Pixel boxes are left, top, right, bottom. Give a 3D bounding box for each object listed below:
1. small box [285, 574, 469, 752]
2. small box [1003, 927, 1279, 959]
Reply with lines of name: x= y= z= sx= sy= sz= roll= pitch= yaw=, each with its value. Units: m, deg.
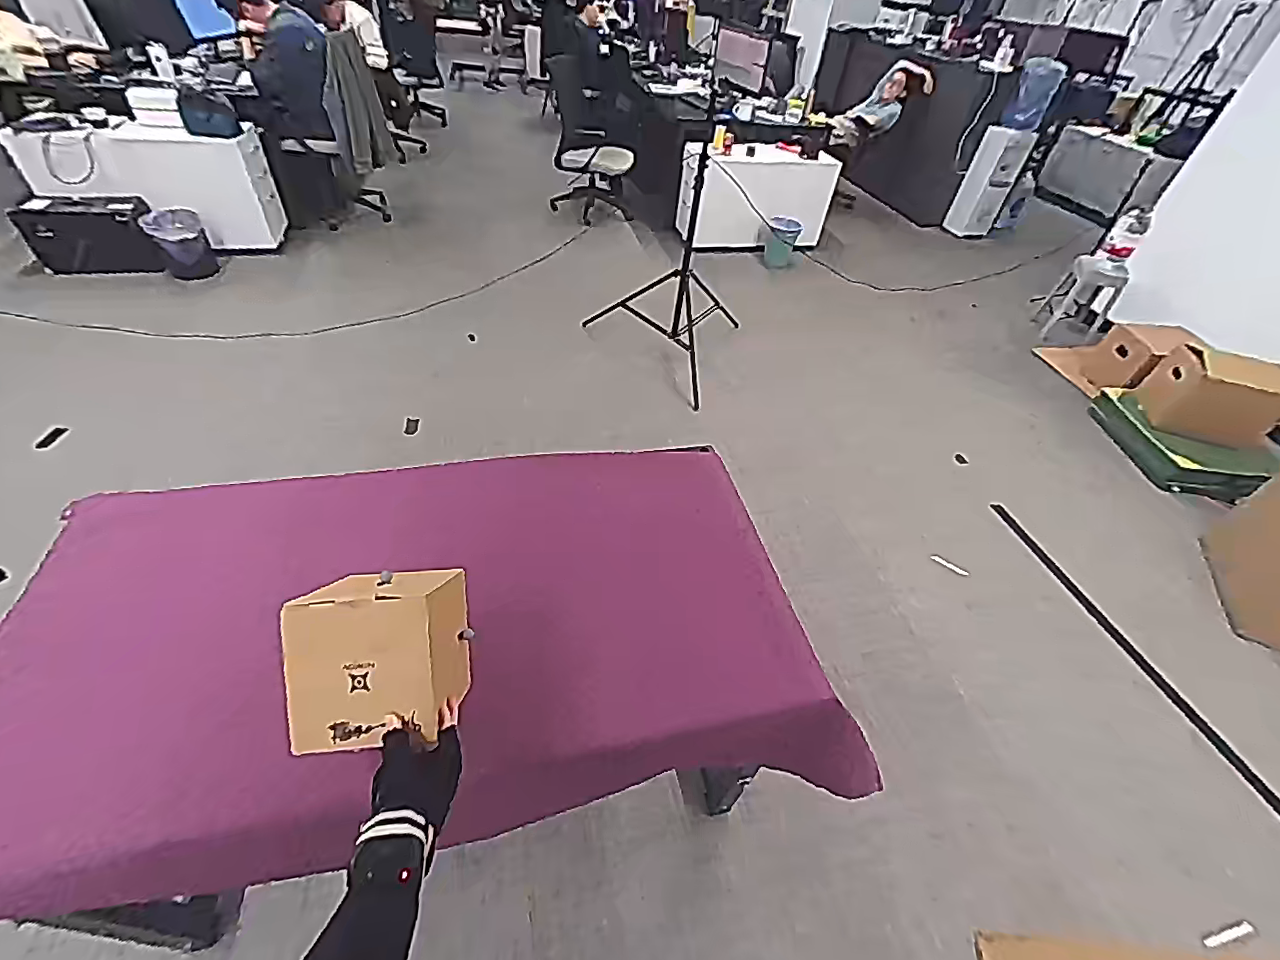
small box: x=-0.325 y=0.219 z=0.697 sx=0.168 sy=0.176 sz=0.179 roll=-3 pitch=89 yaw=-4
small box: x=0.248 y=0.316 z=0.189 sx=0.168 sy=0.176 sz=0.179 roll=-8 pitch=1 yaw=21
